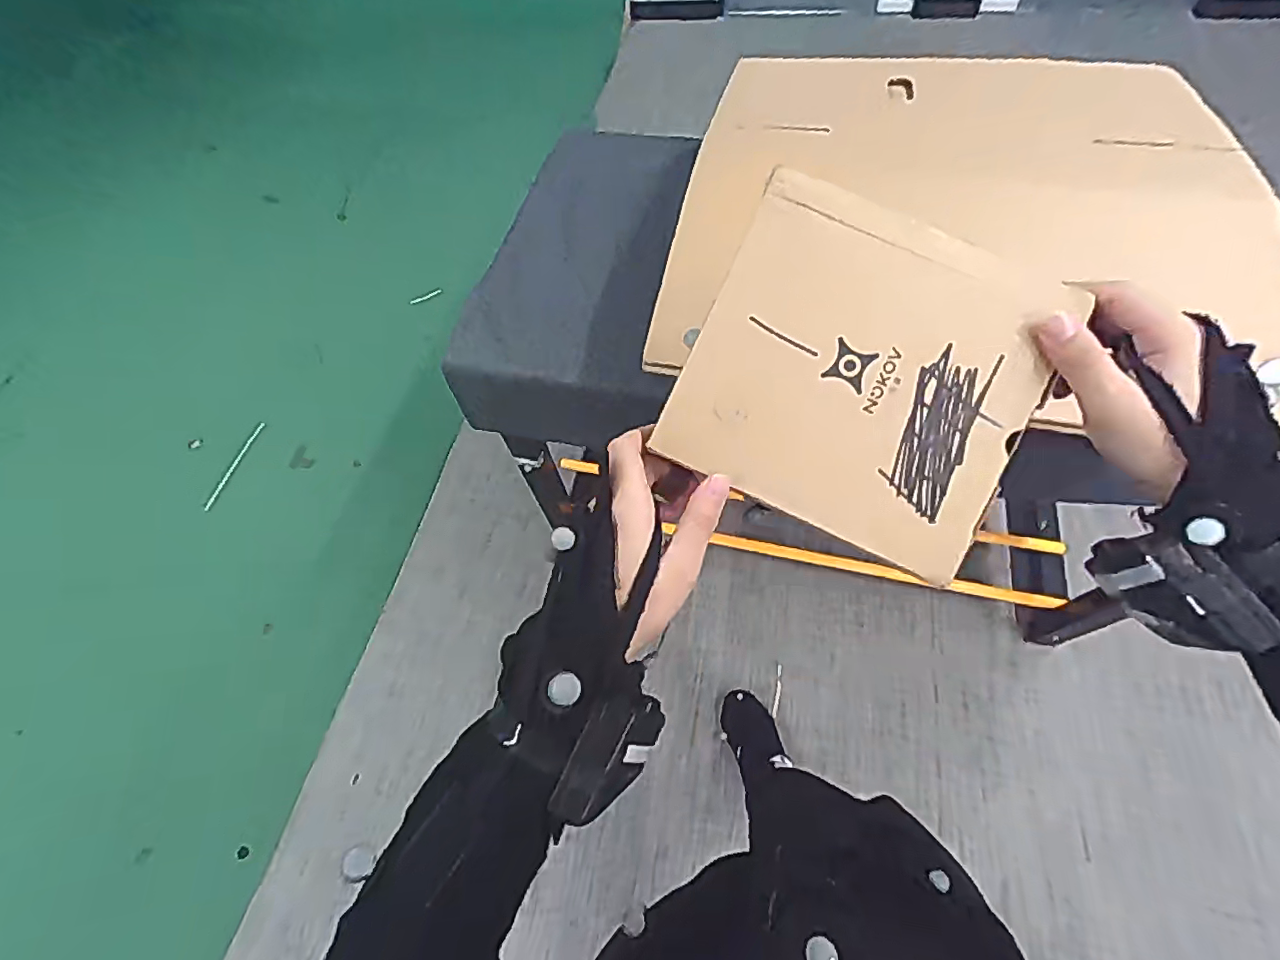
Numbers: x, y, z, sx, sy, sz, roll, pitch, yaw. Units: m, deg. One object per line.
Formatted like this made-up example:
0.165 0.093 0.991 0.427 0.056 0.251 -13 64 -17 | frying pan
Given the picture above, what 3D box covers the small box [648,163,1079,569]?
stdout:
0.122 -0.063 0.367 0.179 0.176 0.168 25 93 4 | small box
